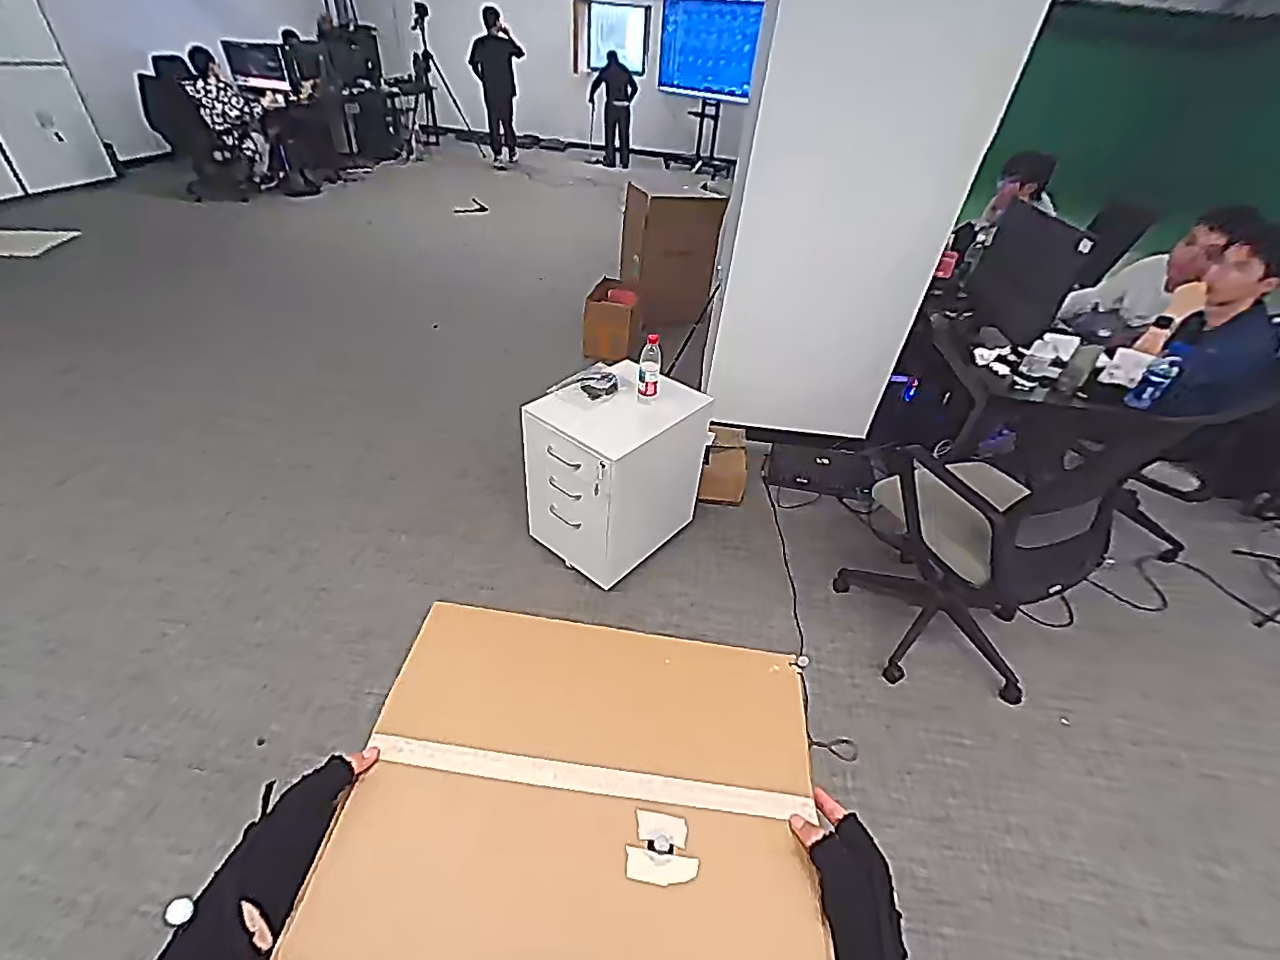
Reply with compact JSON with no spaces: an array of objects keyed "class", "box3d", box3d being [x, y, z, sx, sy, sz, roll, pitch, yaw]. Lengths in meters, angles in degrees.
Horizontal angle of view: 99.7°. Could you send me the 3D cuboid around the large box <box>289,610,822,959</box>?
[{"class":"large box","box3d":[-0.062,0.384,0.596,0.408,0.320,0.320,9,43,0]}]
